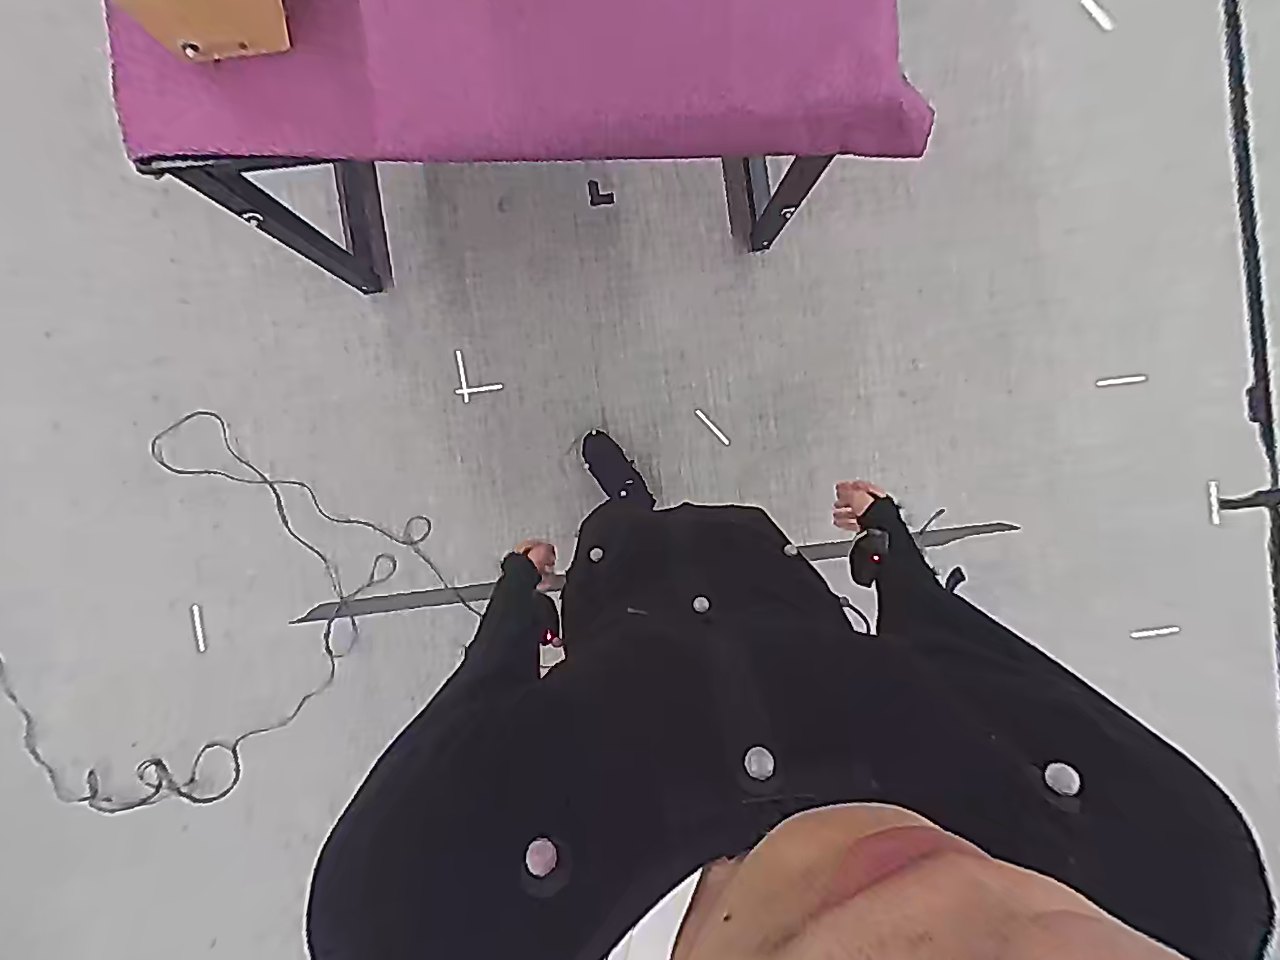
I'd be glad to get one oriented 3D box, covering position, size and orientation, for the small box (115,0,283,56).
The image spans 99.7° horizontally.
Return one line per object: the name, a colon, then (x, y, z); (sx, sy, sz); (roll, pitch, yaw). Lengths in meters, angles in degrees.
small box: (-0.630, -0.728, 0.746); (0.168, 0.176, 0.179); (-9, 91, -2)
